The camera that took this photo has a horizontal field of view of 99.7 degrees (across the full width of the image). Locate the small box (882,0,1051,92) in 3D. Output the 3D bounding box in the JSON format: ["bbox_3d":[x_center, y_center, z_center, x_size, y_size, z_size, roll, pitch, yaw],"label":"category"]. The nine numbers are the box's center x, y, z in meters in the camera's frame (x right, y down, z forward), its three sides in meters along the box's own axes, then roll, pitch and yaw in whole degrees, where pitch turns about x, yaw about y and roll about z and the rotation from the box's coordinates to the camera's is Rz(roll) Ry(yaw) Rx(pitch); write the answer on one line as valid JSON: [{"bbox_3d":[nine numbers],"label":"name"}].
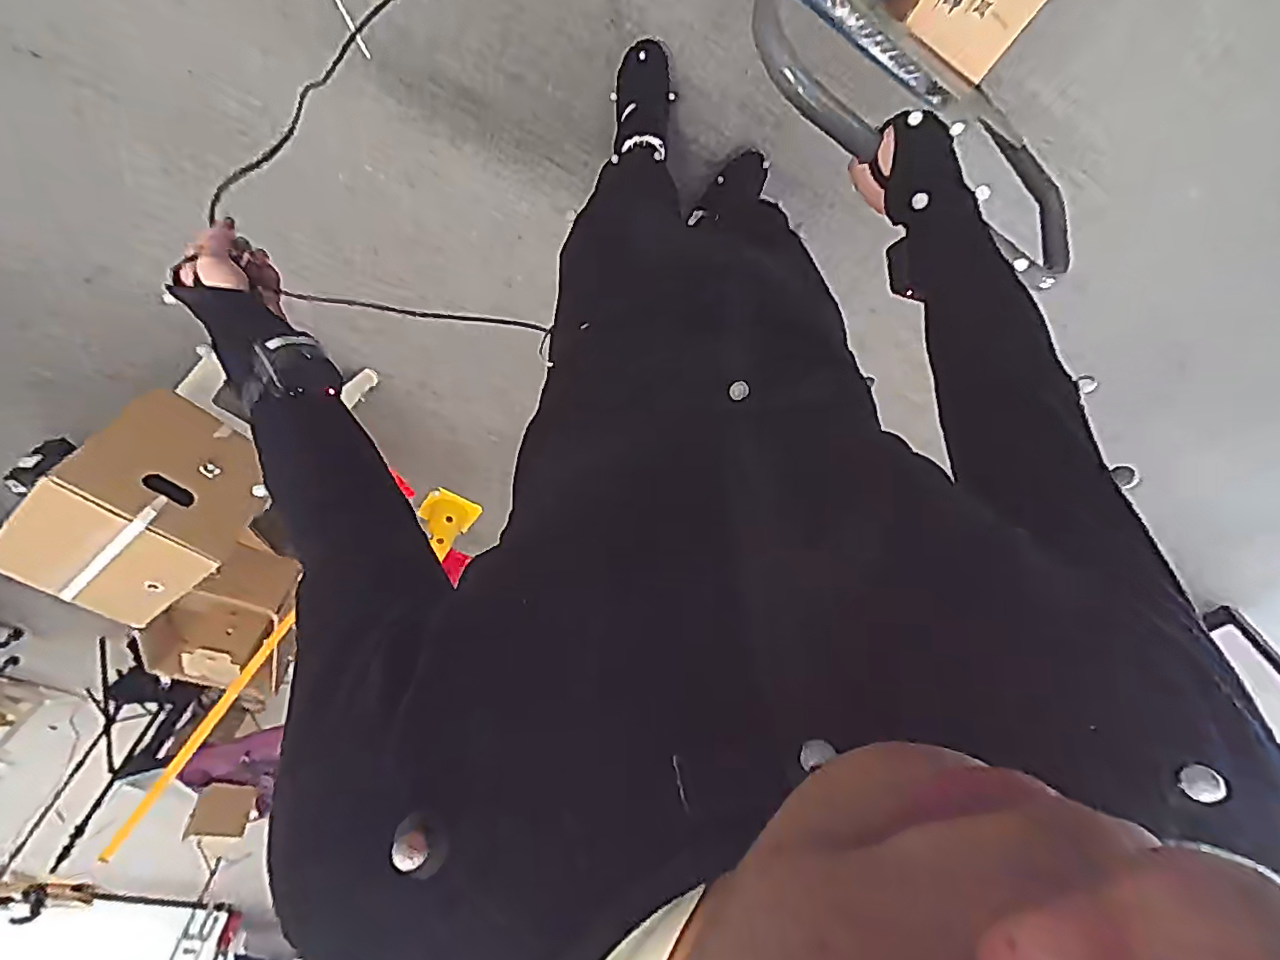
[{"bbox_3d":[0.537,-0.797,0.898,0.179,0.176,0.168,20,139,-18],"label":"small box"}]
